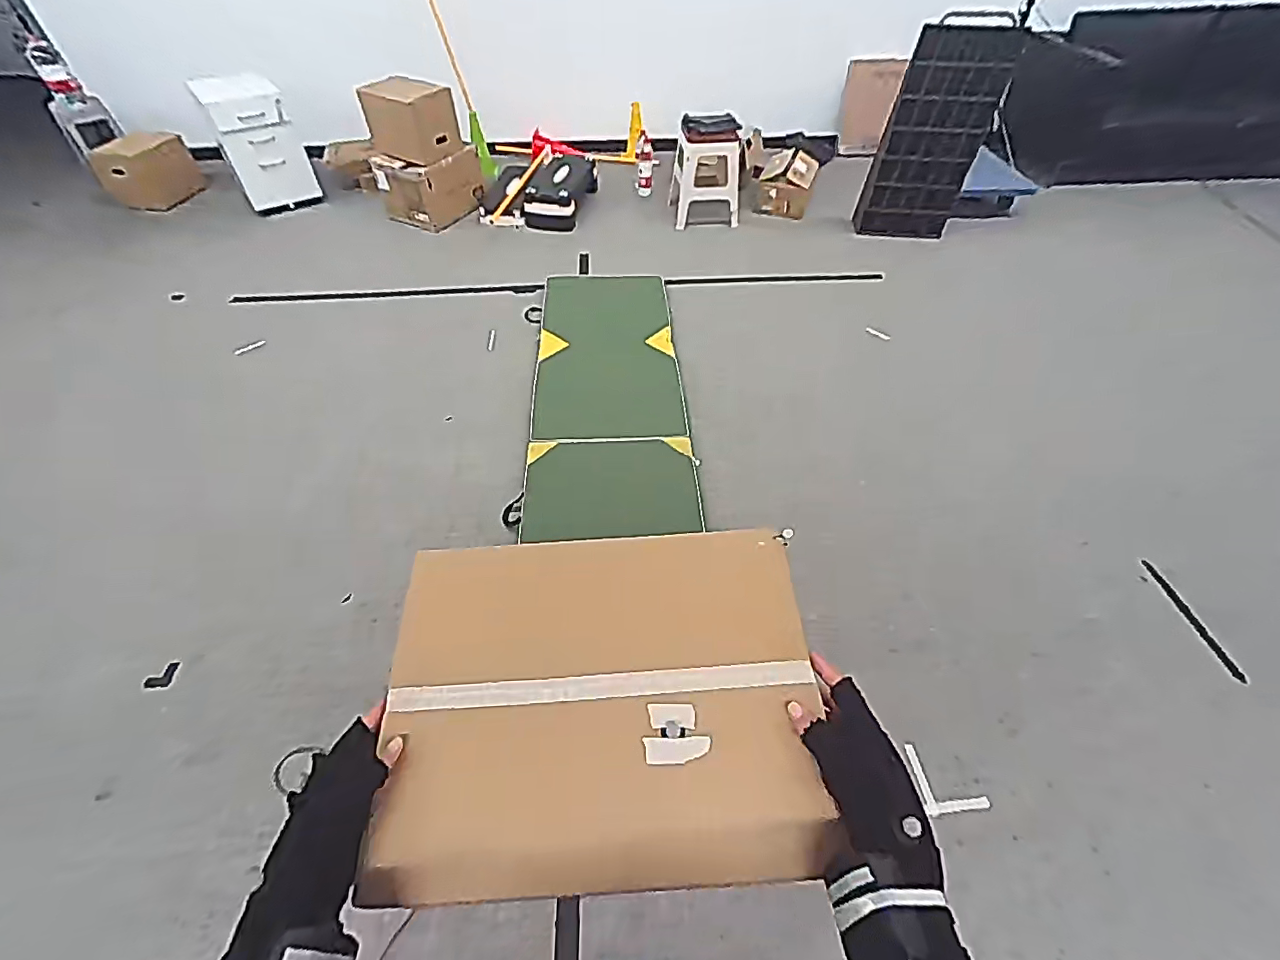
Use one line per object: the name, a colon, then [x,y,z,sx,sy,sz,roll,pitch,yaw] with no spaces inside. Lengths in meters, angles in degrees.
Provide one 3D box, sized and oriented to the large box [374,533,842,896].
large box: [-0.033,0.282,0.655,0.408,0.320,0.320,-3,57,-1]
